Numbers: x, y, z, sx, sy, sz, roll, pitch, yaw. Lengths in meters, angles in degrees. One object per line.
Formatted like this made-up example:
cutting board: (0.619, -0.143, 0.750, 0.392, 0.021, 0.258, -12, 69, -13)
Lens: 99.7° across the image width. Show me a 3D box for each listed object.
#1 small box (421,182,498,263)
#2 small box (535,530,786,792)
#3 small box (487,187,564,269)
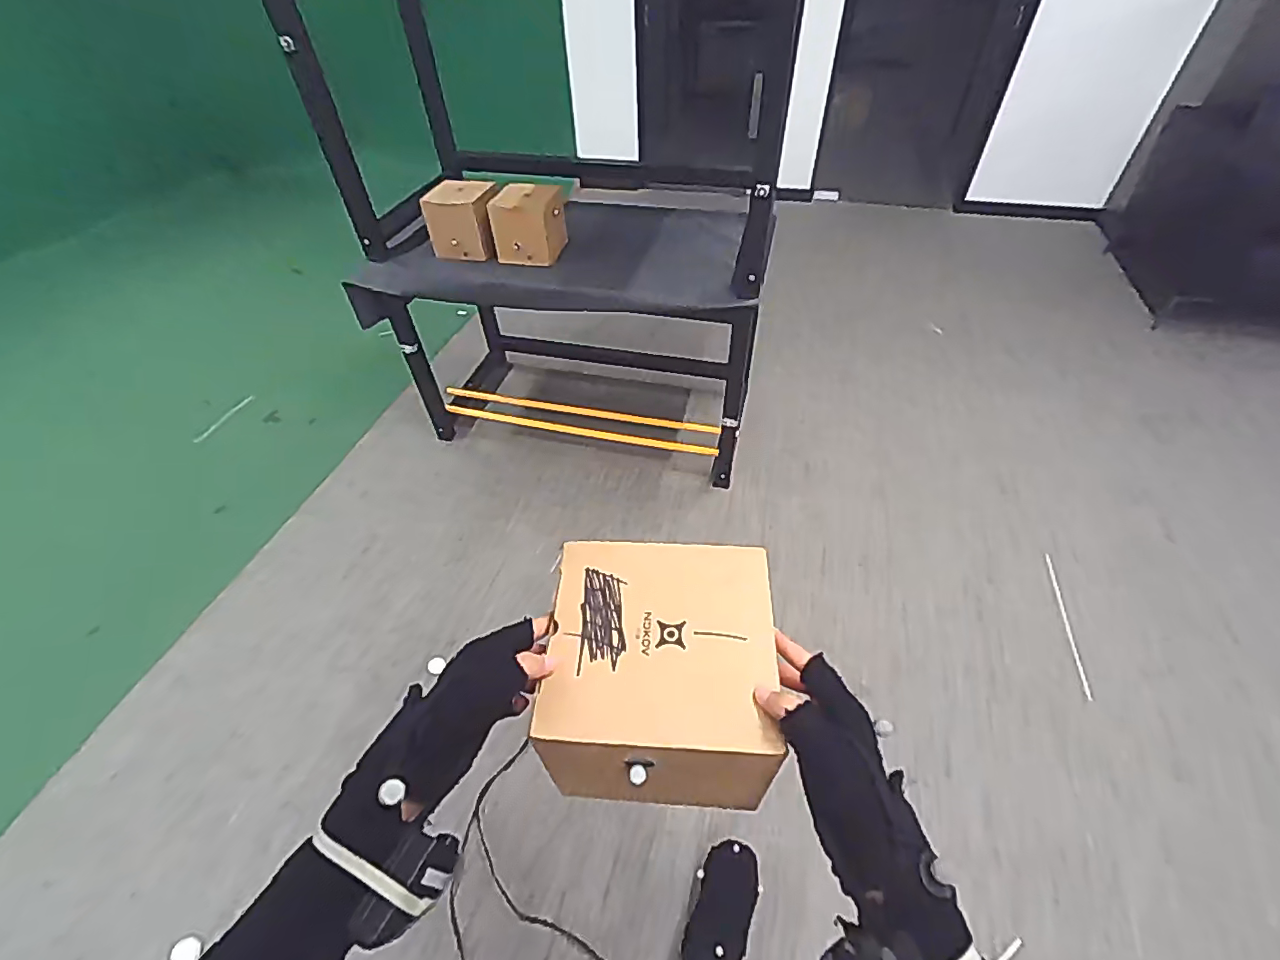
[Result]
small box: (-0.533, -0.786, 1.650, 0.168, 0.176, 0.179, 8, 48, 9)
small box: (0.021, 0.162, 0.479, 0.179, 0.176, 0.168, 2, 48, 4)
small box: (-0.333, -0.757, 1.620, 0.168, 0.176, 0.179, 8, 47, 10)
